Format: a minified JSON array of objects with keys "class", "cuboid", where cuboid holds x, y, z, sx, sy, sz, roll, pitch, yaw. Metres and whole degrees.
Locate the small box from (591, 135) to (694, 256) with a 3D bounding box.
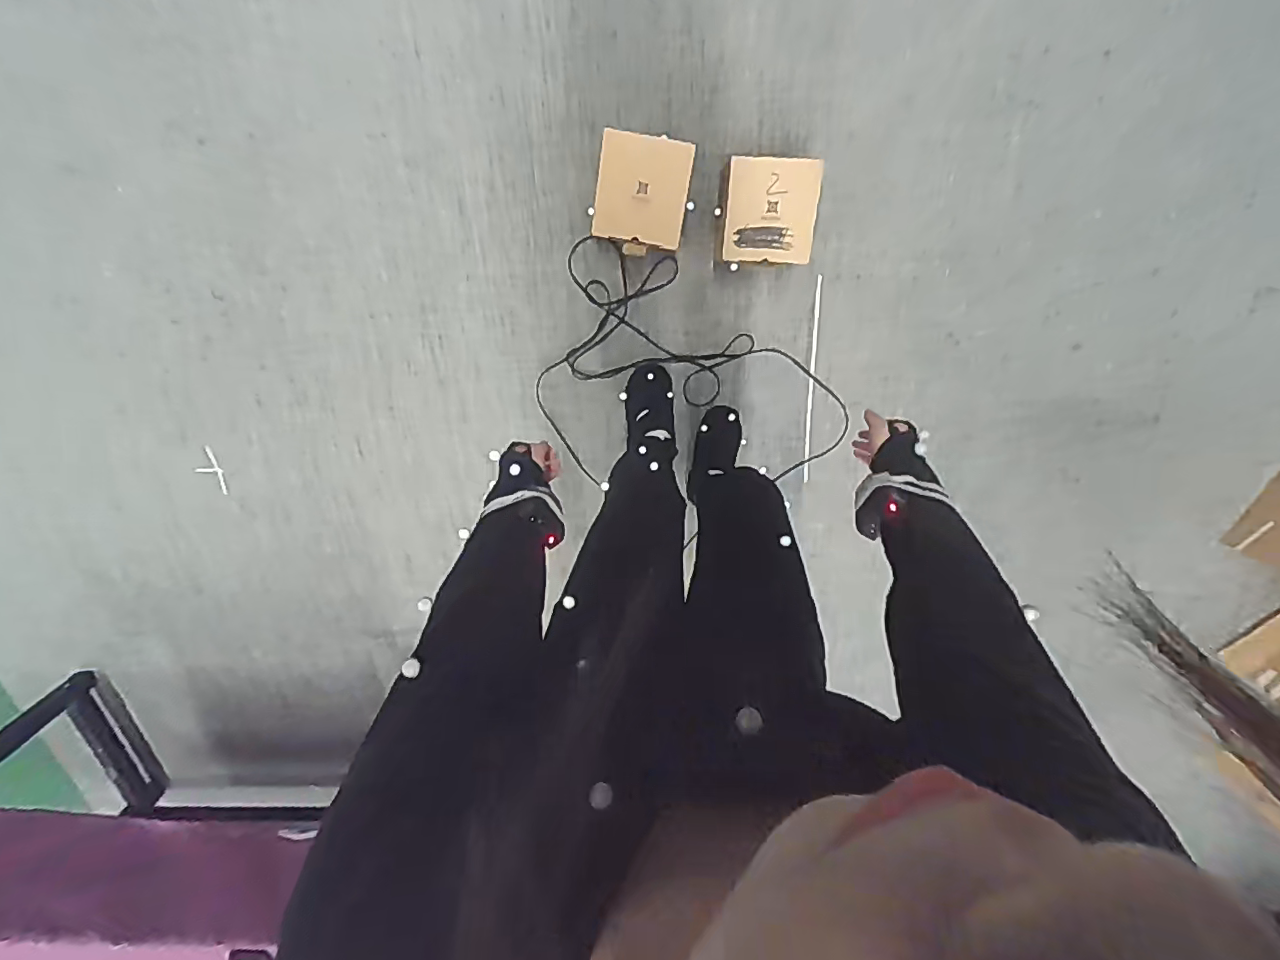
[{"class":"small box","cuboid":[0.003,-0.548,1.058,0.168,0.176,0.179,9,115,-2]}]
